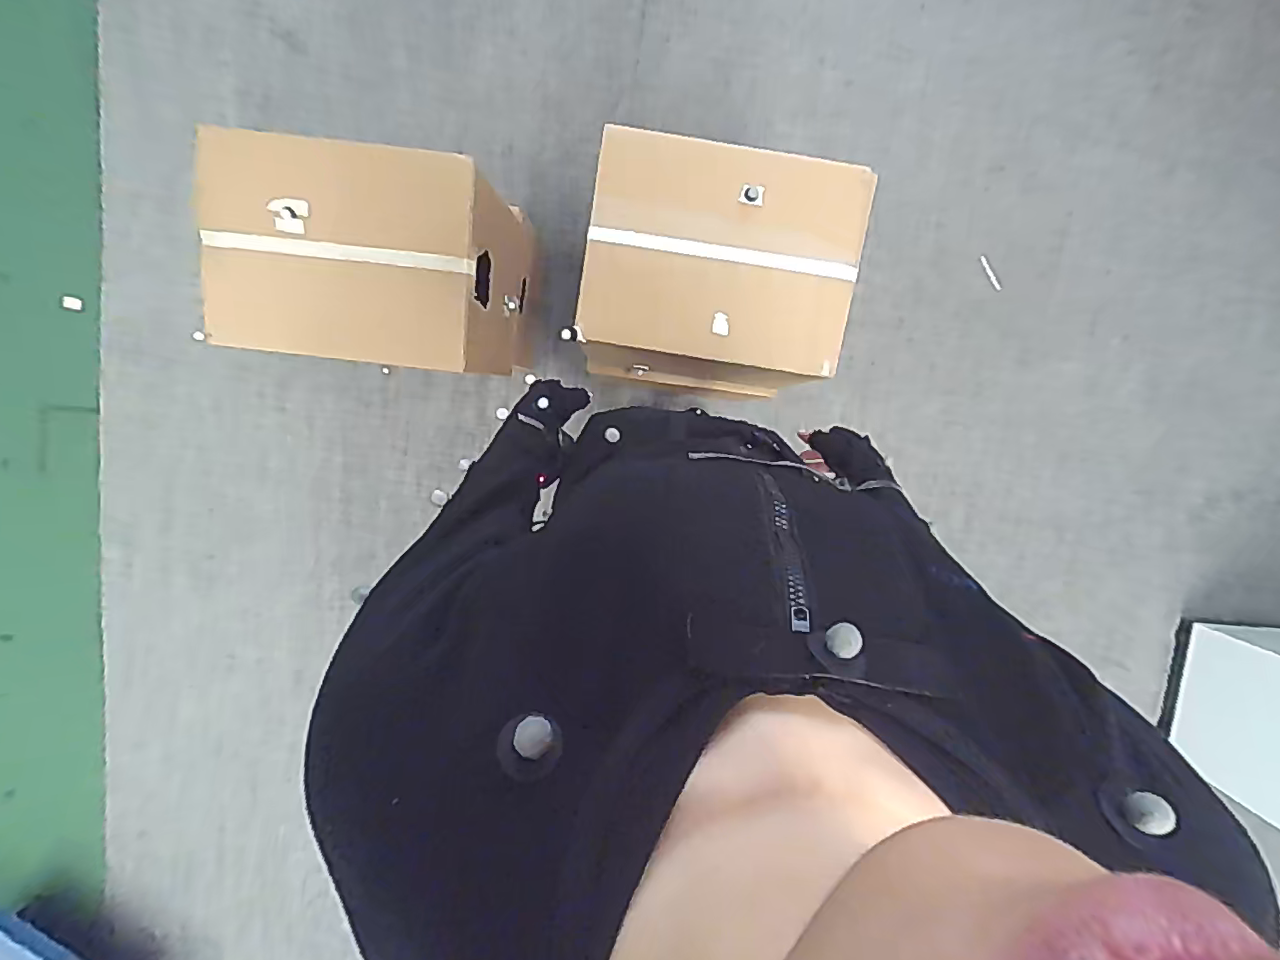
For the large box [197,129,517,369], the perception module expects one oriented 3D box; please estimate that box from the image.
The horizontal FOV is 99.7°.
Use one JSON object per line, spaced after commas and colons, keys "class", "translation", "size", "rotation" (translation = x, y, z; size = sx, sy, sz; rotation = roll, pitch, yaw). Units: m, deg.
{"class": "large box", "translation": [-0.454, -0.368, 0.954], "size": [0.408, 0.320, 0.320], "rotation": [7, 100, 0]}
